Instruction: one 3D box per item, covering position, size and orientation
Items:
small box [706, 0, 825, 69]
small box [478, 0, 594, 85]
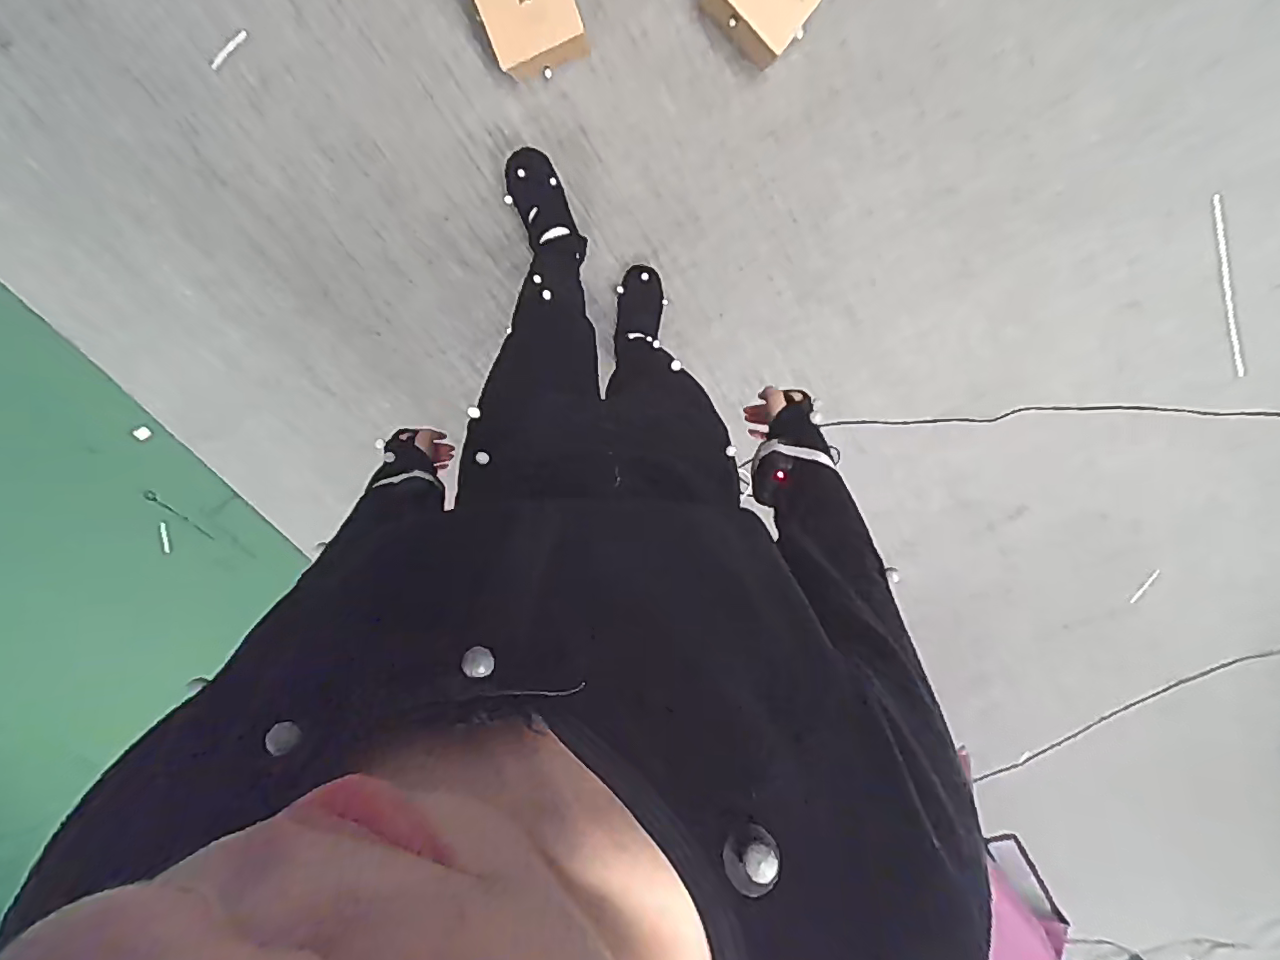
[{"bbox_3d":[0.236,-0.890,0.978,0.179,0.176,0.168,36,114,-17],"label":"small box"},{"bbox_3d":[-0.196,-0.874,1.001,0.168,0.176,0.179,-16,116,11],"label":"small box"}]
